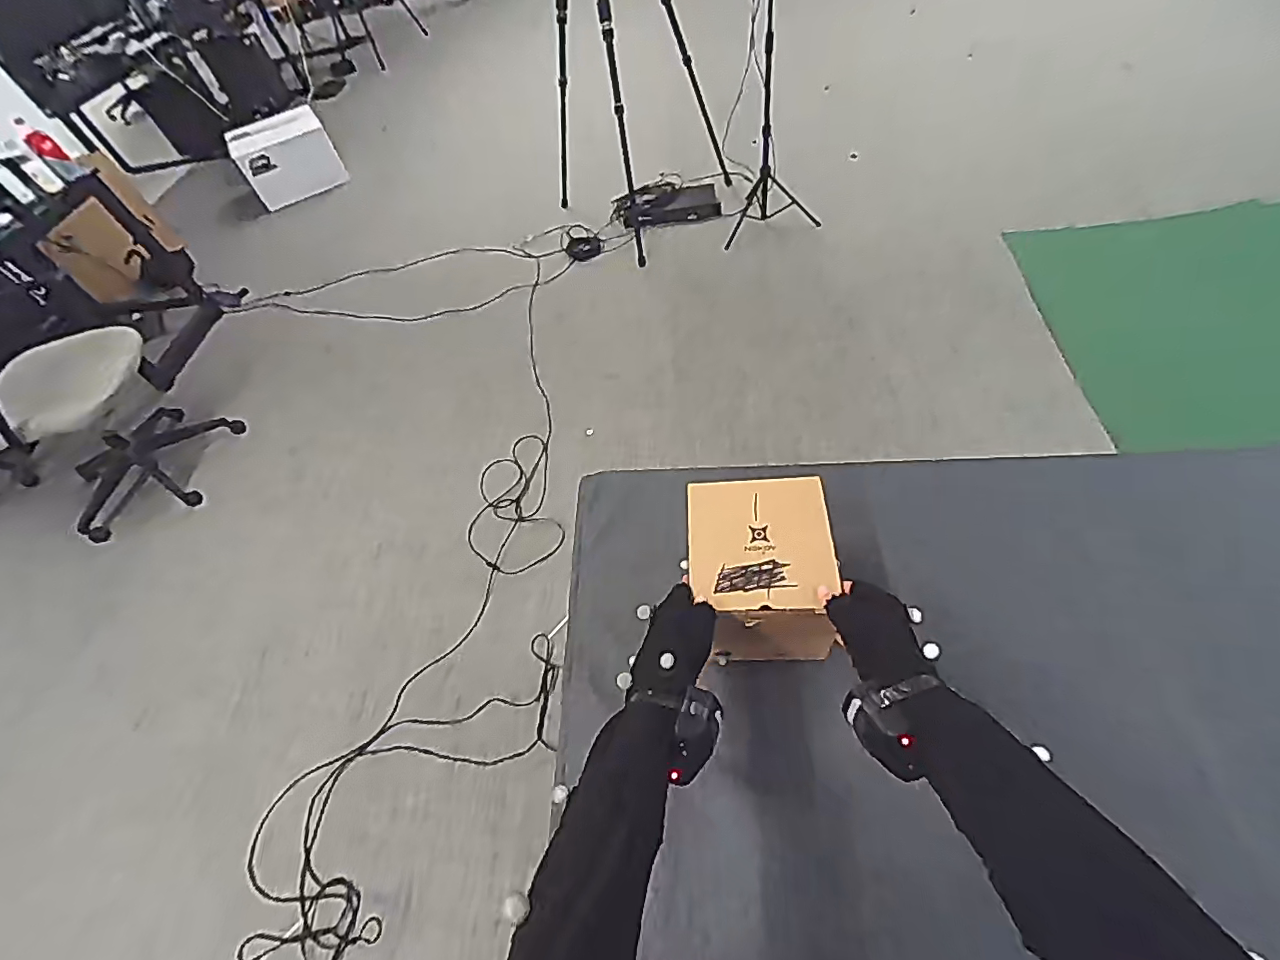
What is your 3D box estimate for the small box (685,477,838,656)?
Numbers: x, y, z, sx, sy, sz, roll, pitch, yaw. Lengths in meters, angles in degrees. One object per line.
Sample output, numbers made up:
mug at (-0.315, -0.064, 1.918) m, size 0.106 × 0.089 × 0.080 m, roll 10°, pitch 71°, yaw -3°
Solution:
small box at (0.148, 0.117, 0.691) m, size 0.168 × 0.176 × 0.179 m, roll -3°, pitch 54°, yaw 9°
